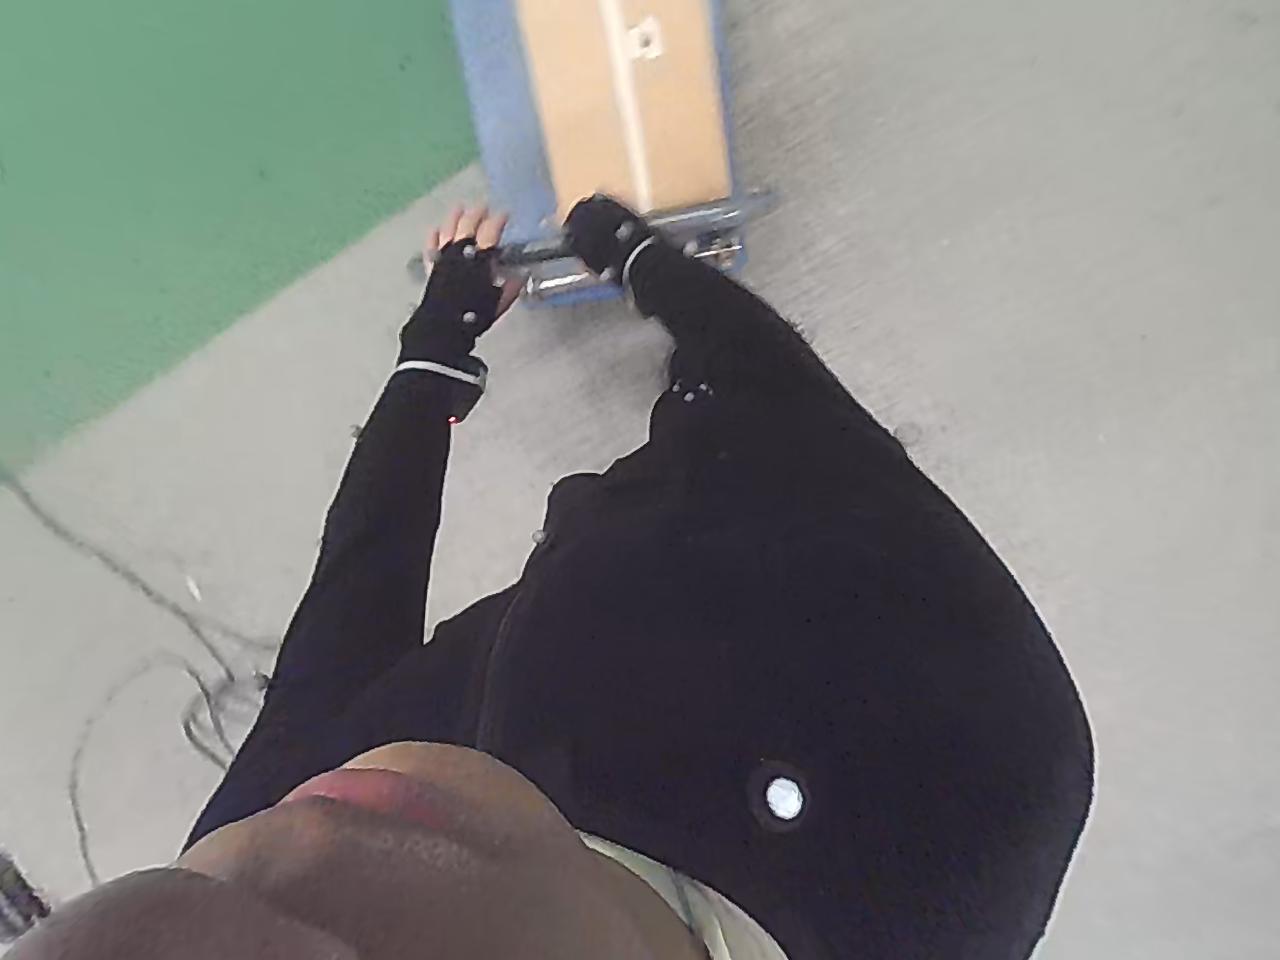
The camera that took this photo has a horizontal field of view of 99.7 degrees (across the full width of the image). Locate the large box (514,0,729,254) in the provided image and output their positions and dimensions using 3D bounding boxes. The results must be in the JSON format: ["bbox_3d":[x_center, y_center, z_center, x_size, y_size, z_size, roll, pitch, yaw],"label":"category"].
[{"bbox_3d":[-0.017,-0.713,1.083,0.320,0.320,0.408,-10,105,6],"label":"large box"}]
